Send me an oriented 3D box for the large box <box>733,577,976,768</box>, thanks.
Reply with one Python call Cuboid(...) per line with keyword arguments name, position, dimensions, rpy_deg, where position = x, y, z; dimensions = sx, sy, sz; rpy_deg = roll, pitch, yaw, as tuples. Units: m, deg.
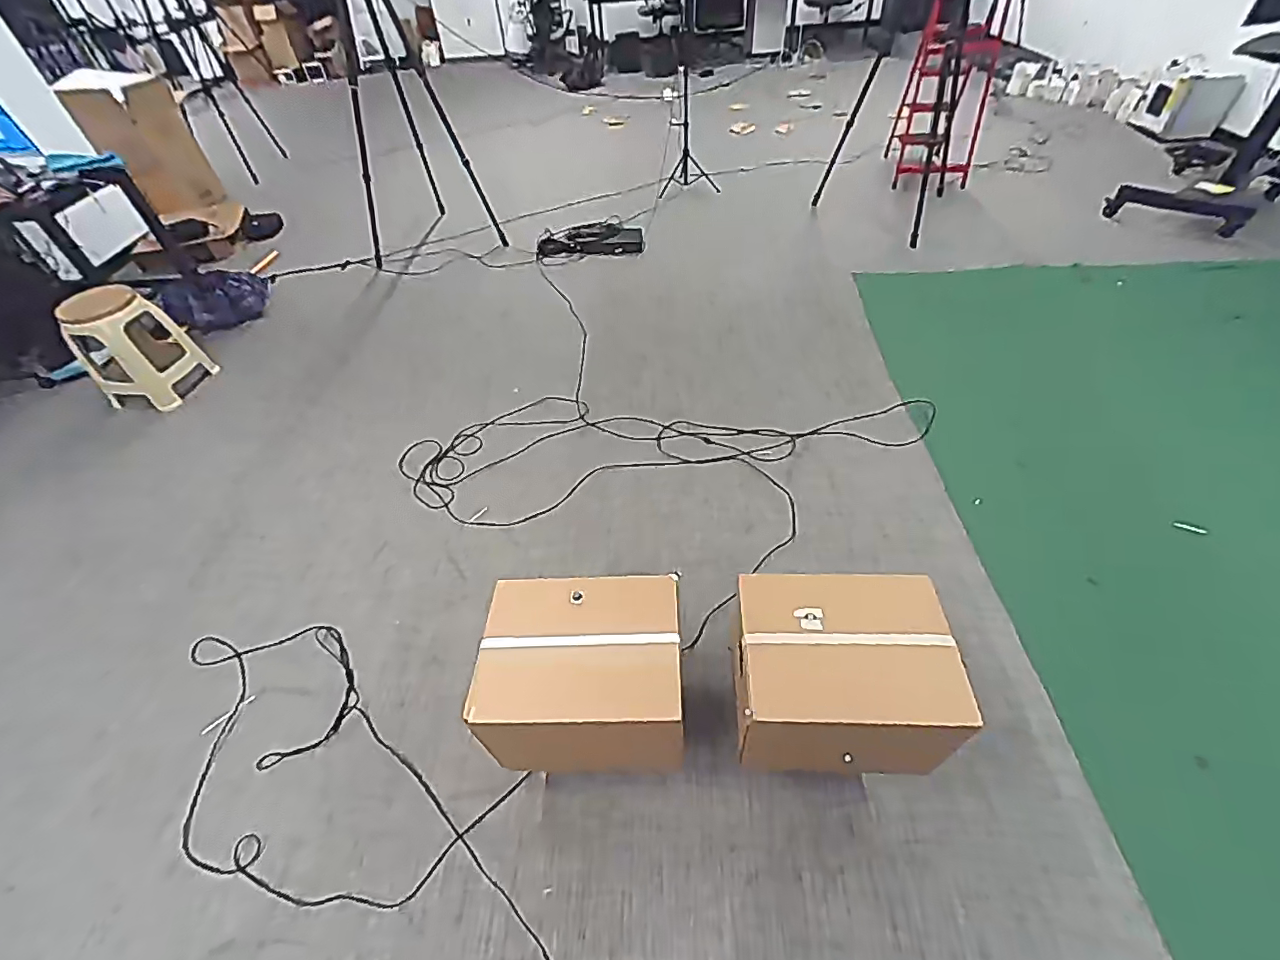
Cuboid(name="large box", position=(0.423, 0.425, 1.186), dimensions=(0.408, 0.320, 0.320), rpy_deg=(-1, 47, 5))
